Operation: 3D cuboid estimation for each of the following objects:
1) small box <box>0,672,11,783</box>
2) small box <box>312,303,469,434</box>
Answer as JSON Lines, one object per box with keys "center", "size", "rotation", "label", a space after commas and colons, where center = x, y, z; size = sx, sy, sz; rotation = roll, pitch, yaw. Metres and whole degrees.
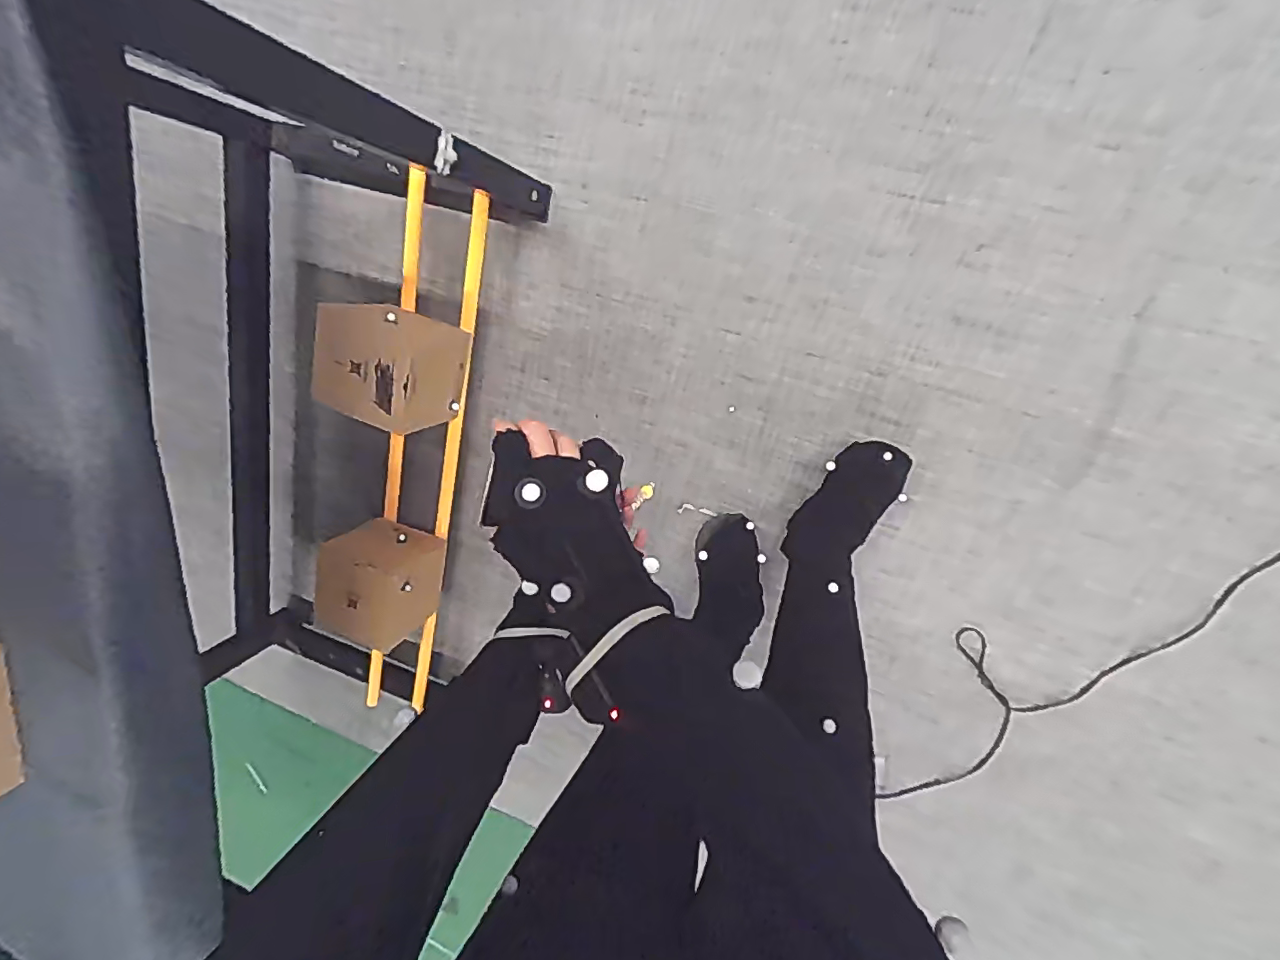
{"center": [-0.696, 0.219, 0.454], "size": [0.168, 0.176, 0.179], "rotation": [21, 110, 9], "label": "small box"}
{"center": [-0.420, -0.197, 0.926], "size": [0.179, 0.176, 0.168], "rotation": [21, 110, 9], "label": "small box"}
